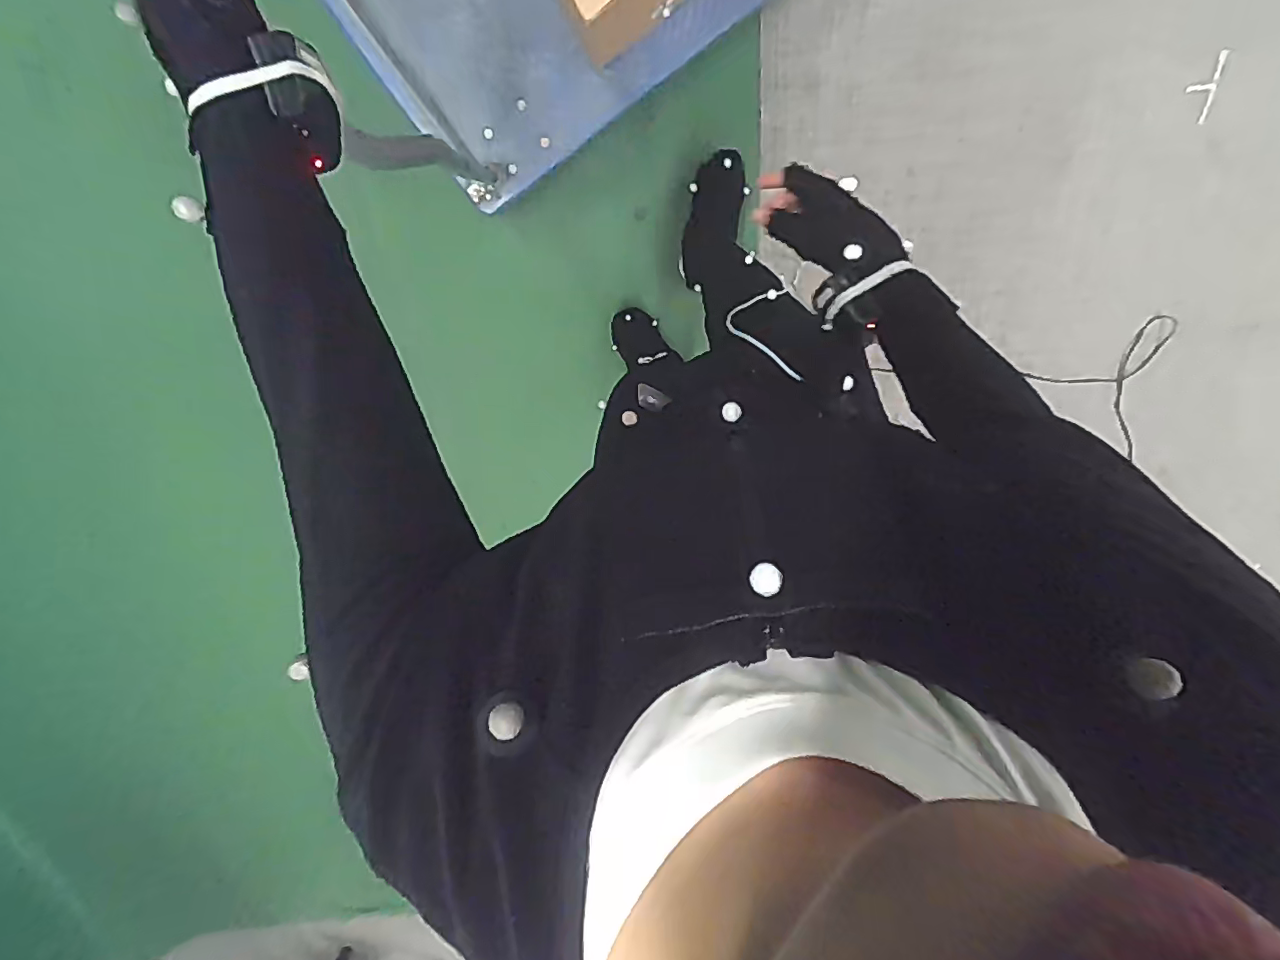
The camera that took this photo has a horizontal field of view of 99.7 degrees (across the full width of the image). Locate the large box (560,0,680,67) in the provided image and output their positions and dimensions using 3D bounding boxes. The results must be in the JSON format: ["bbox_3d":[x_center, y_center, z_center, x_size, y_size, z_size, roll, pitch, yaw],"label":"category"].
[{"bbox_3d":[-0.057,-0.896,0.736,0.320,0.320,0.408,-30,113,13],"label":"large box"}]
